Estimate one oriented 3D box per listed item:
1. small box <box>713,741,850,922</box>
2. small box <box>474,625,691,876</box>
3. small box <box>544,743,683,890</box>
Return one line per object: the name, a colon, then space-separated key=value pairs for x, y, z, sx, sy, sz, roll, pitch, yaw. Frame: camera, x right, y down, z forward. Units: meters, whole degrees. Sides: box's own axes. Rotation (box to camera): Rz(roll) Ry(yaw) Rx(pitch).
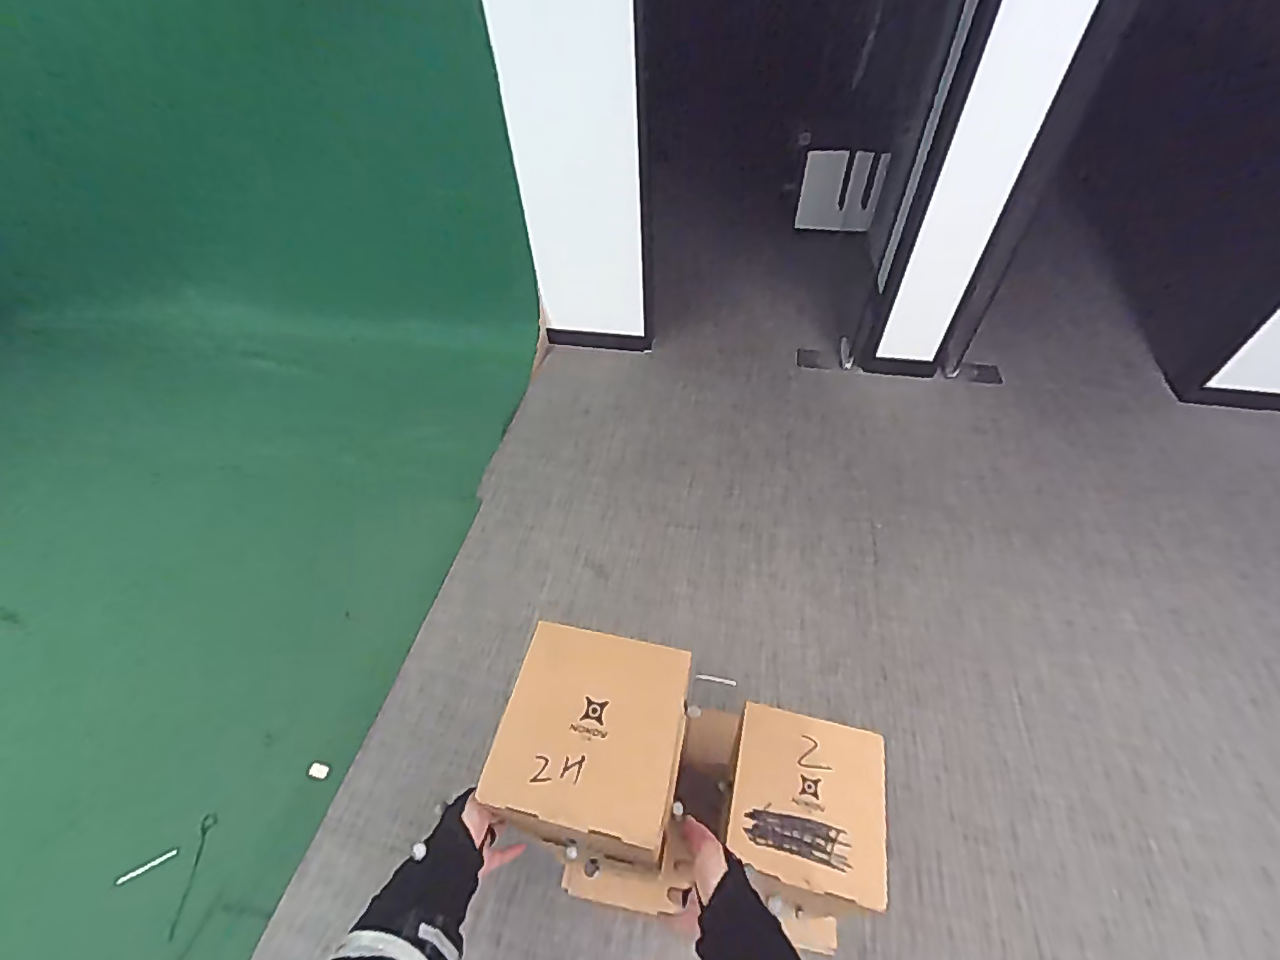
small box: x=0.202 y=0.515 z=0.790 sx=0.168 sy=0.176 sz=0.179 roll=10 pitch=50 yaw=12
small box: x=-0.046 y=0.284 z=0.567 sx=0.168 sy=0.176 sz=0.179 roll=10 pitch=50 yaw=10
small box: x=-0.033 y=0.494 z=0.821 sx=0.168 sy=0.176 sz=0.179 roll=8 pitch=51 yaw=9
